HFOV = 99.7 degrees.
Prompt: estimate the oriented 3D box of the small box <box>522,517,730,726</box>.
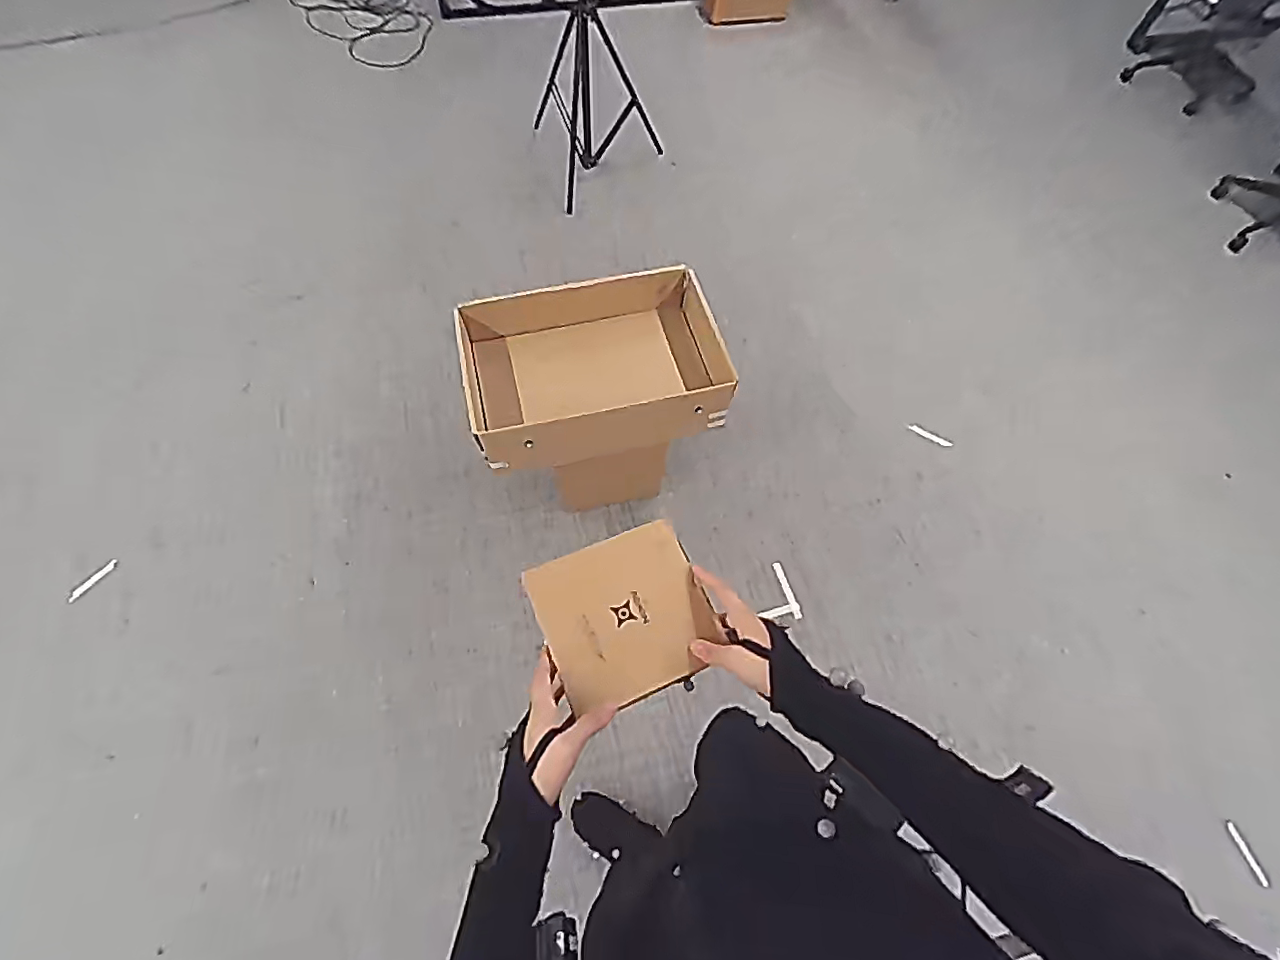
[{"bbox_3d":[-0.026,0.169,0.632,0.179,0.176,0.168,-20,68,-16],"label":"small box"}]
